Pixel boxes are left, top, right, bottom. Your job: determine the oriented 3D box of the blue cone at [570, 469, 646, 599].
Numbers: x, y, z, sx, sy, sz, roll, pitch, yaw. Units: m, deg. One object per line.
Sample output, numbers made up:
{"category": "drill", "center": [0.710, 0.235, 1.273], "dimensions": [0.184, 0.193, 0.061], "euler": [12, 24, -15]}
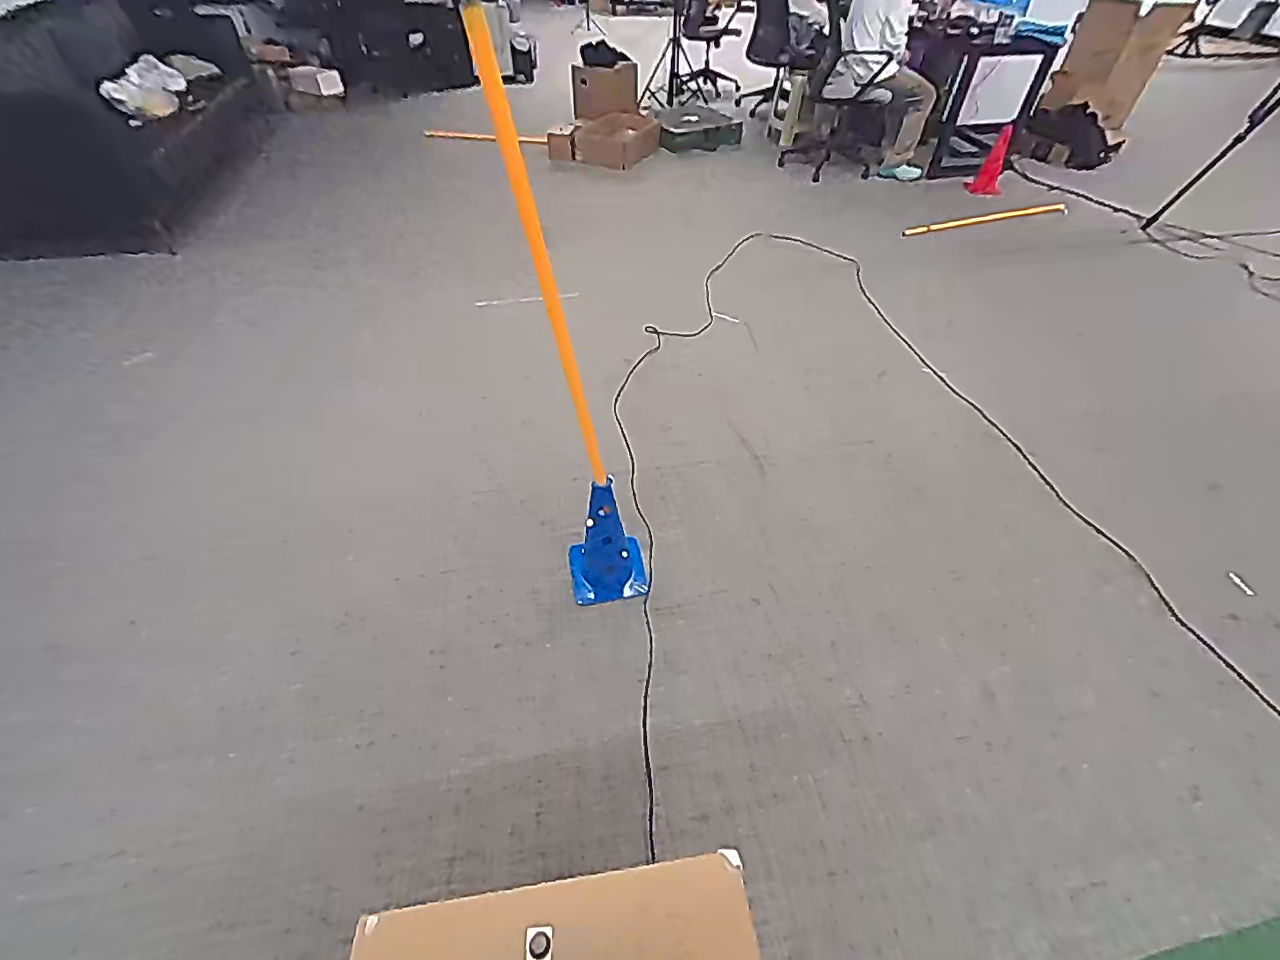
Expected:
{"category": "blue cone", "center": [-0.090, 0.121, 1.353], "dimensions": [0.193, 0.380, 0.192], "euler": [-11, 47, -9]}
